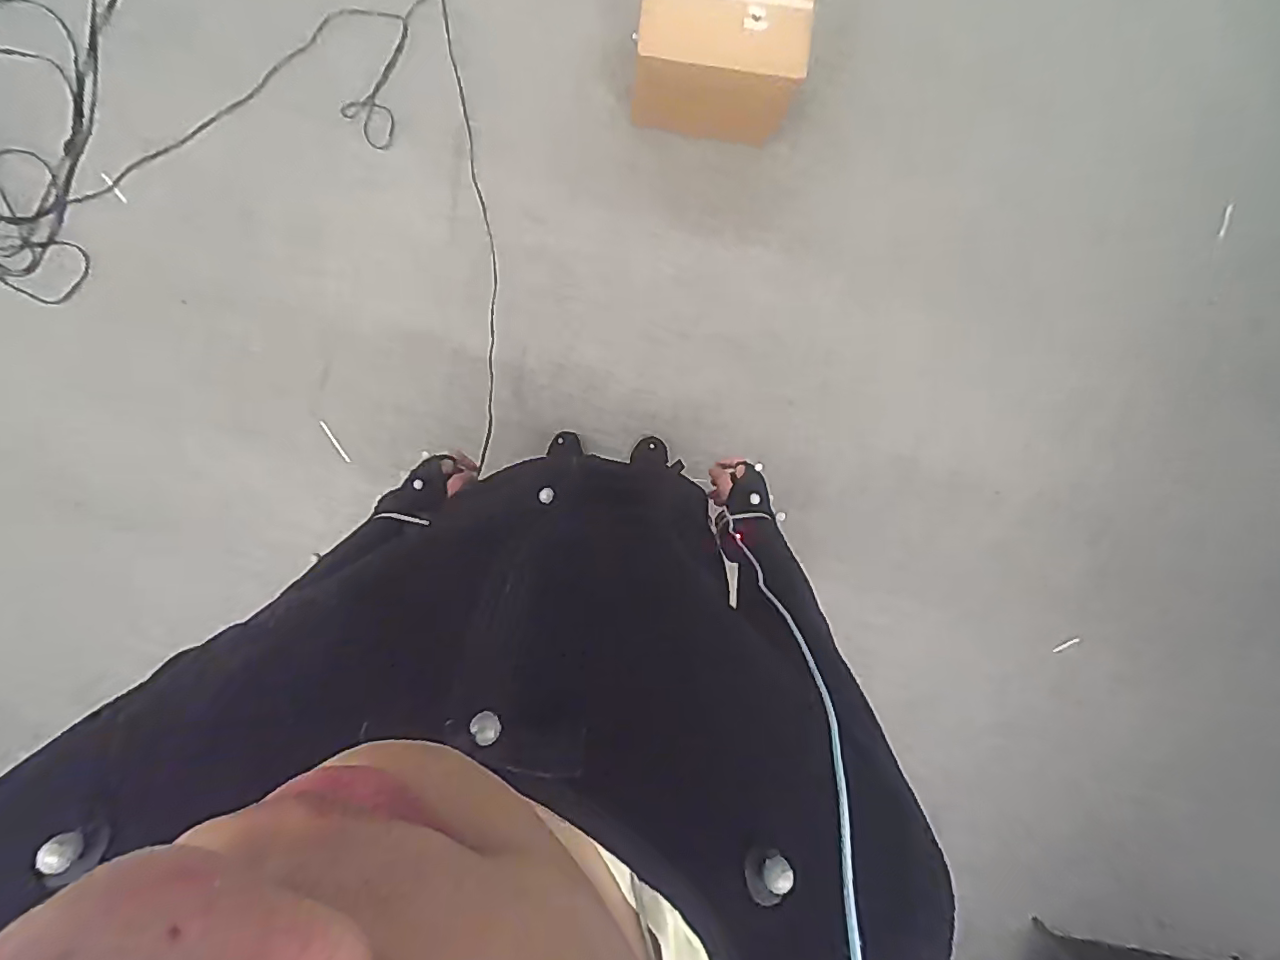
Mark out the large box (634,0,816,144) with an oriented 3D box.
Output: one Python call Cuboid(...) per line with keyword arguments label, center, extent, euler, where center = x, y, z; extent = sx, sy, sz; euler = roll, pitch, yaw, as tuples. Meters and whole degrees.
Cuboid(label="large box", center=(0.202, -1.127, 1.397), extent=(0.408, 0.320, 0.320), euler=(6, 96, -4))
